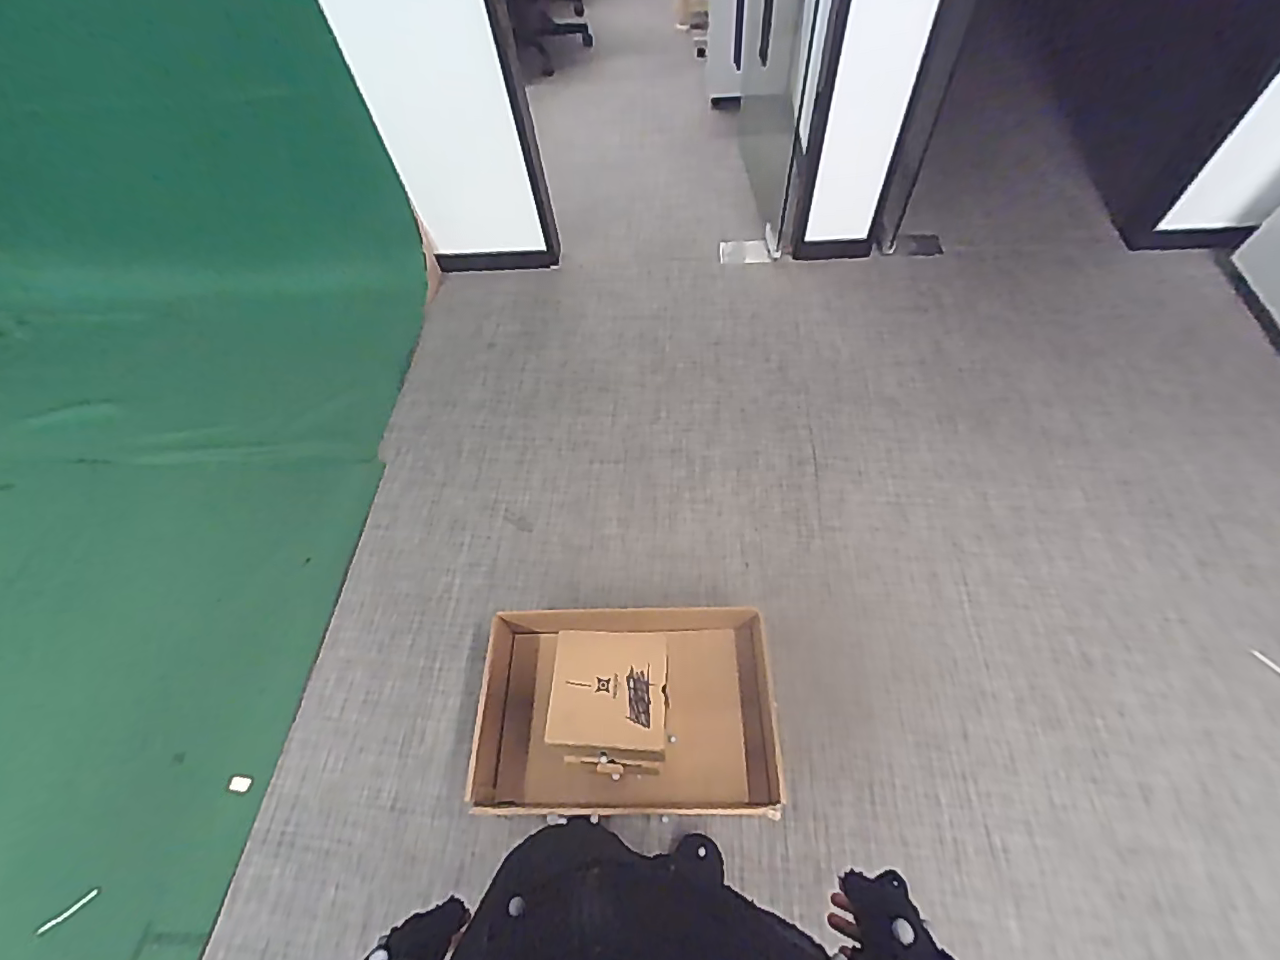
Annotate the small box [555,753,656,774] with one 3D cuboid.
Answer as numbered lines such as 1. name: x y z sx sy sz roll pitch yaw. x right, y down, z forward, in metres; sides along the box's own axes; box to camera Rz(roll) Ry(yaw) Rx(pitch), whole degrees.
1. small box: -0.052 0.445 1.013 0.168 0.176 0.179 2 59 5

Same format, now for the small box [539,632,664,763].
1. small box: -0.051 0.362 0.890 0.179 0.176 0.168 2 57 5
